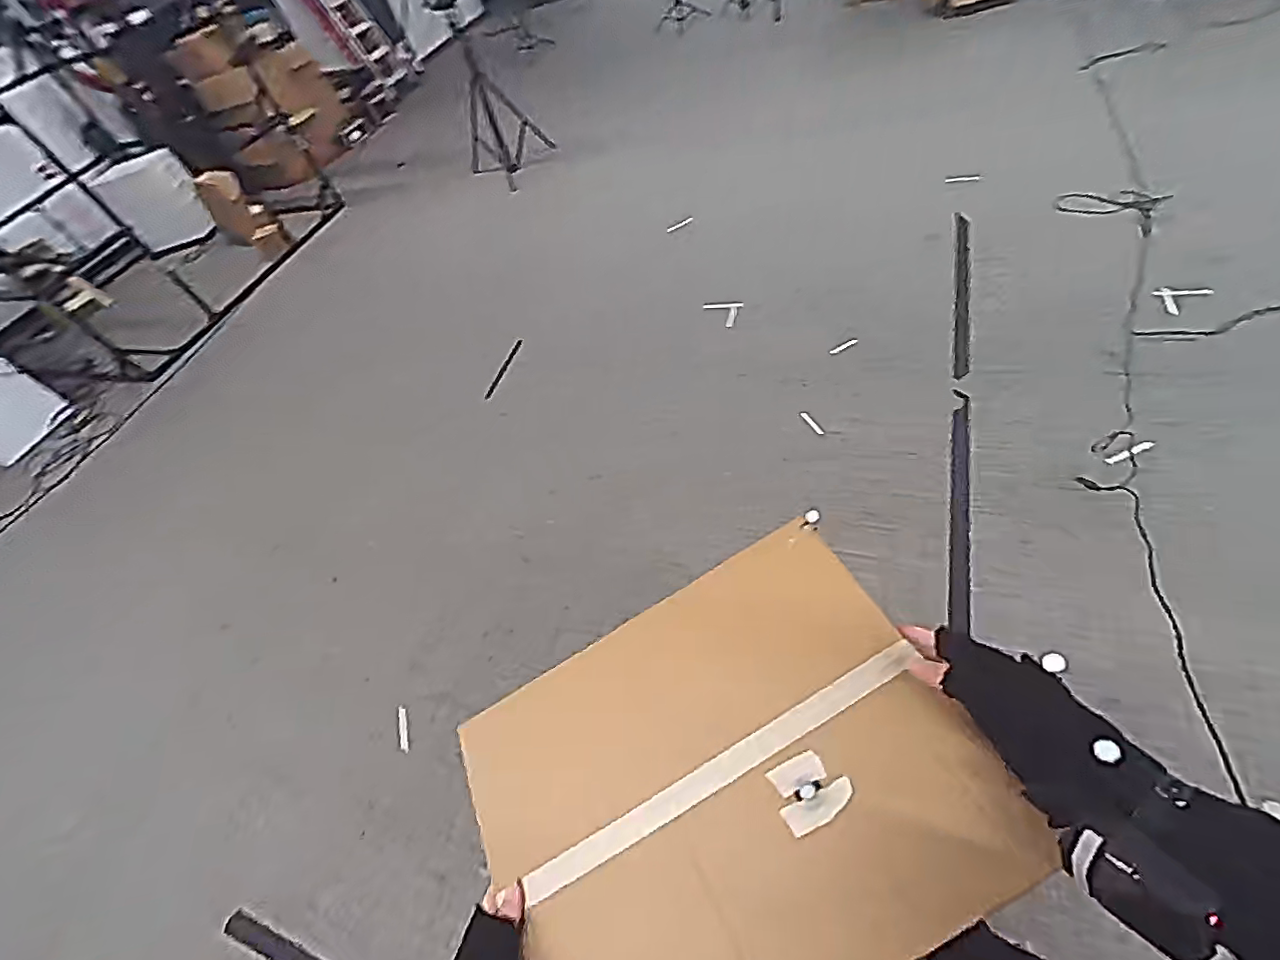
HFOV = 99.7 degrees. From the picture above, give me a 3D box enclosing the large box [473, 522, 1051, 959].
[{"bbox_3d":[0.104,0.327,0.583,0.408,0.320,0.320,-32,54,-1],"label":"large box"}]
